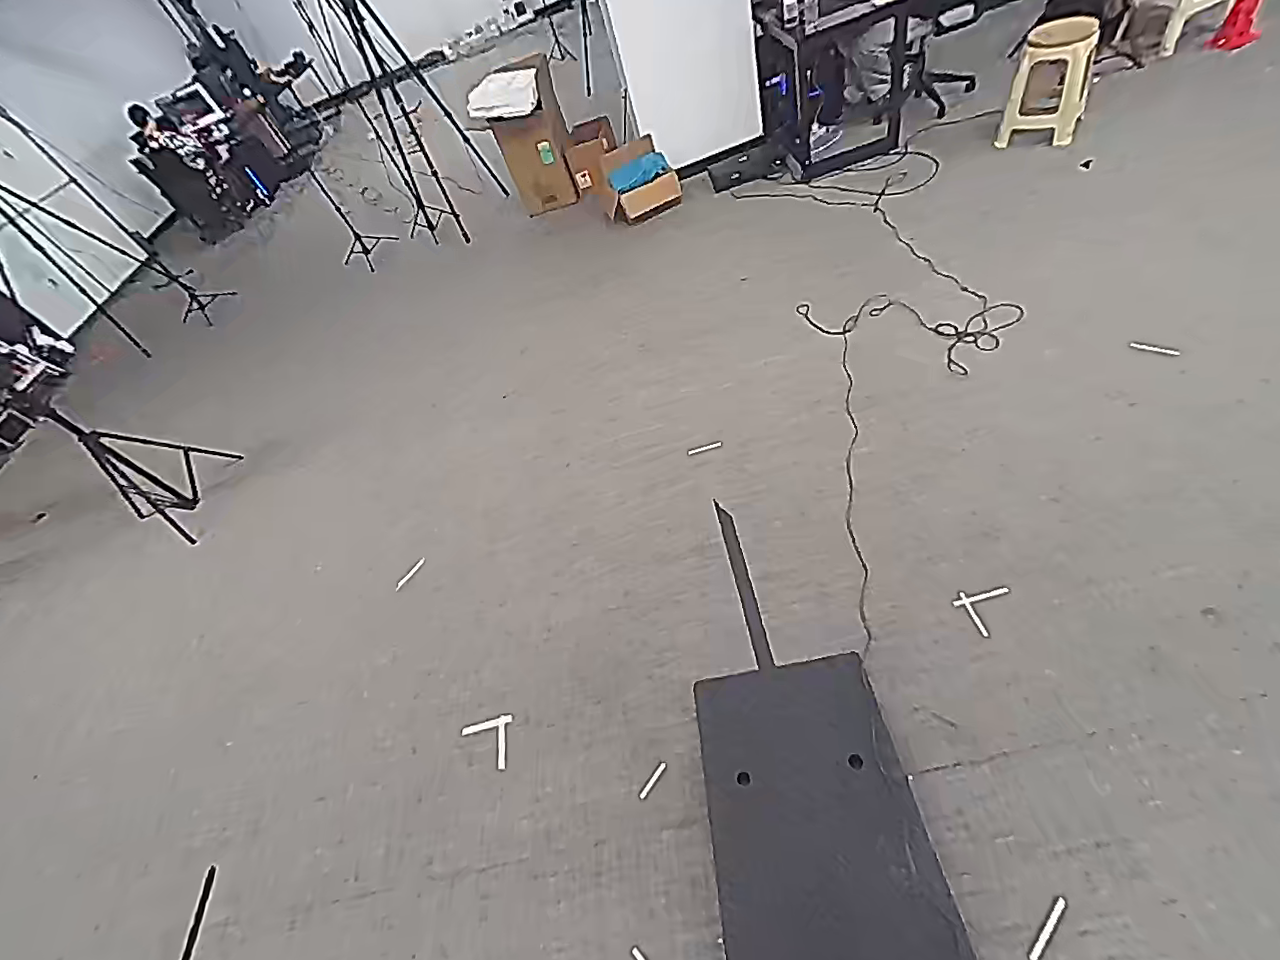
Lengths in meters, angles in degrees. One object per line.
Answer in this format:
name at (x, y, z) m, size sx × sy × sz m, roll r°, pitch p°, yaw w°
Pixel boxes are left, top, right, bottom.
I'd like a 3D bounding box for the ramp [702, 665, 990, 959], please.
ramp at (0.438, 0.904, 1.201) m, size 0.509 × 0.206 × 0.991 m, roll -18°, pitch 46°, yaw 8°
